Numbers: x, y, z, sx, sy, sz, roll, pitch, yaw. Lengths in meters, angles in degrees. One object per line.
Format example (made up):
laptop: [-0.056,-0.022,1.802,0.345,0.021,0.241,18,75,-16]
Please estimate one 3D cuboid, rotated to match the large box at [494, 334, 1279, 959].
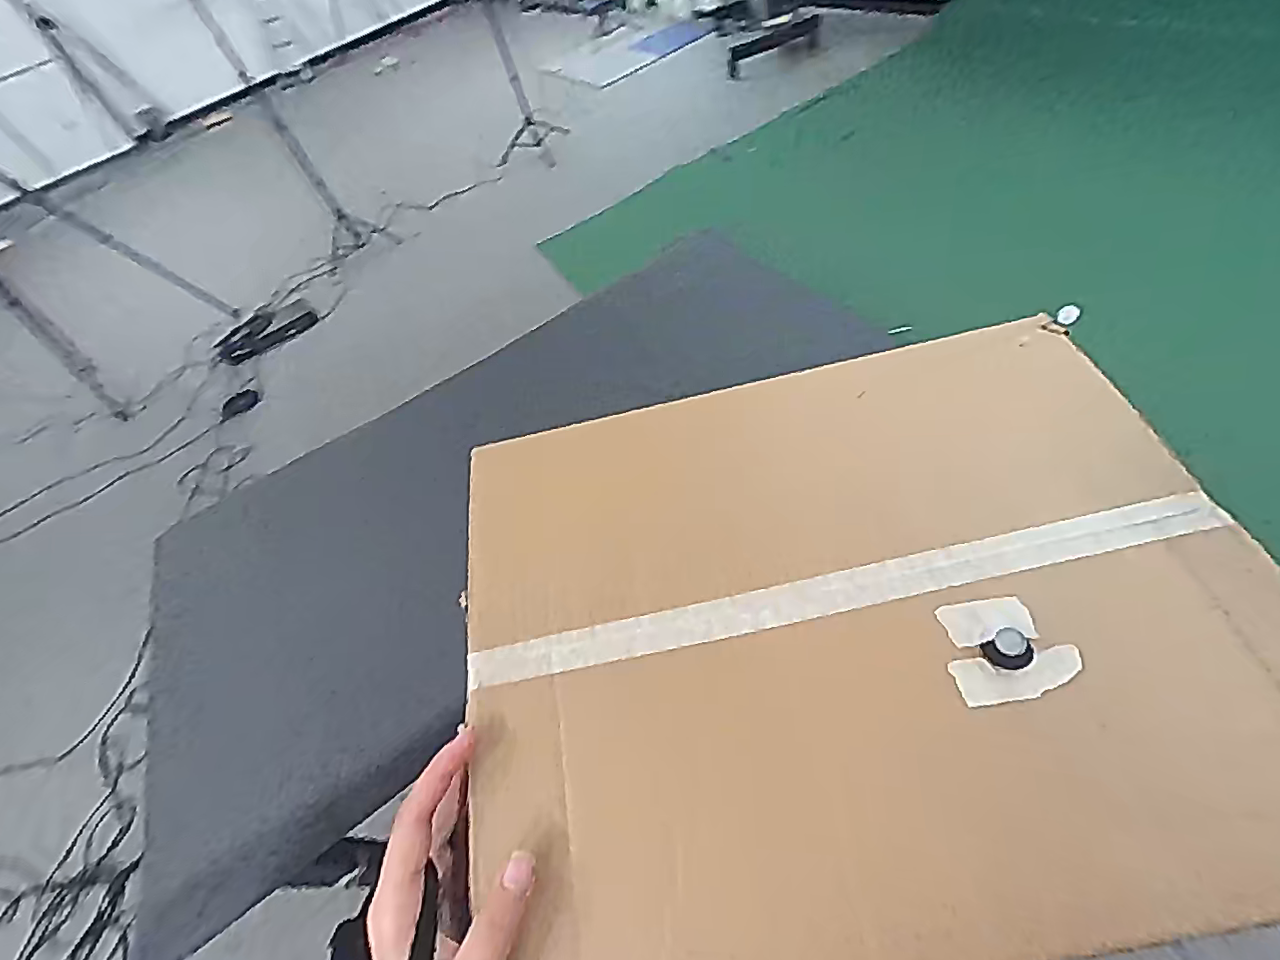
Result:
large box: [0.131,0.142,0.428,0.408,0.320,0.320,-12,58,2]
